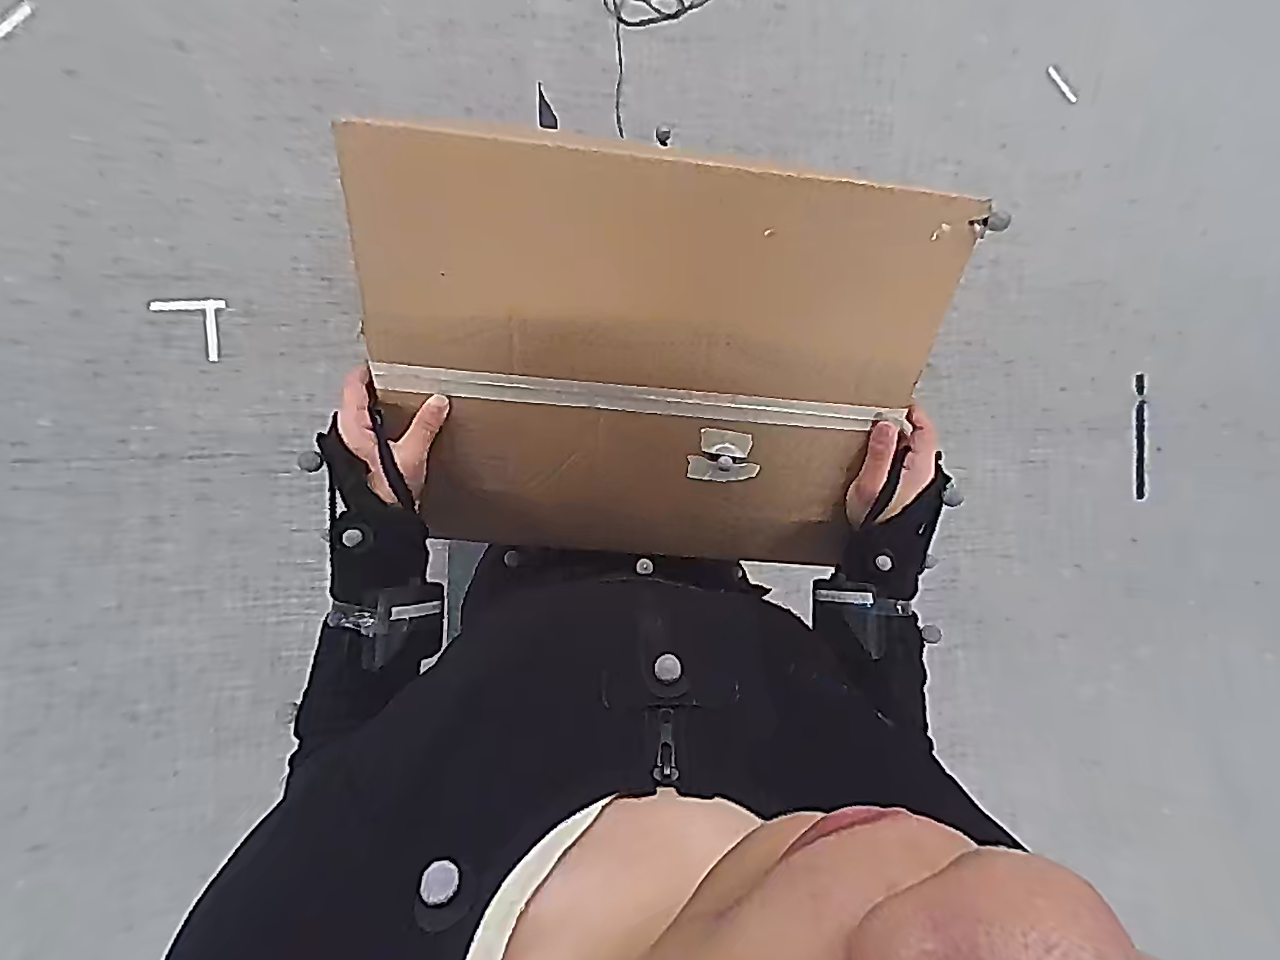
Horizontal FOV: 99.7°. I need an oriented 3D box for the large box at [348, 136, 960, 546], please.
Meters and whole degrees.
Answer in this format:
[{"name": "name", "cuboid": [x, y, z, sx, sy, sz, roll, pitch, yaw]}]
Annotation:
[{"name": "large box", "cuboid": [-0.003, -0.152, 0.549, 0.408, 0.320, 0.320, 3, 124, -5]}]
